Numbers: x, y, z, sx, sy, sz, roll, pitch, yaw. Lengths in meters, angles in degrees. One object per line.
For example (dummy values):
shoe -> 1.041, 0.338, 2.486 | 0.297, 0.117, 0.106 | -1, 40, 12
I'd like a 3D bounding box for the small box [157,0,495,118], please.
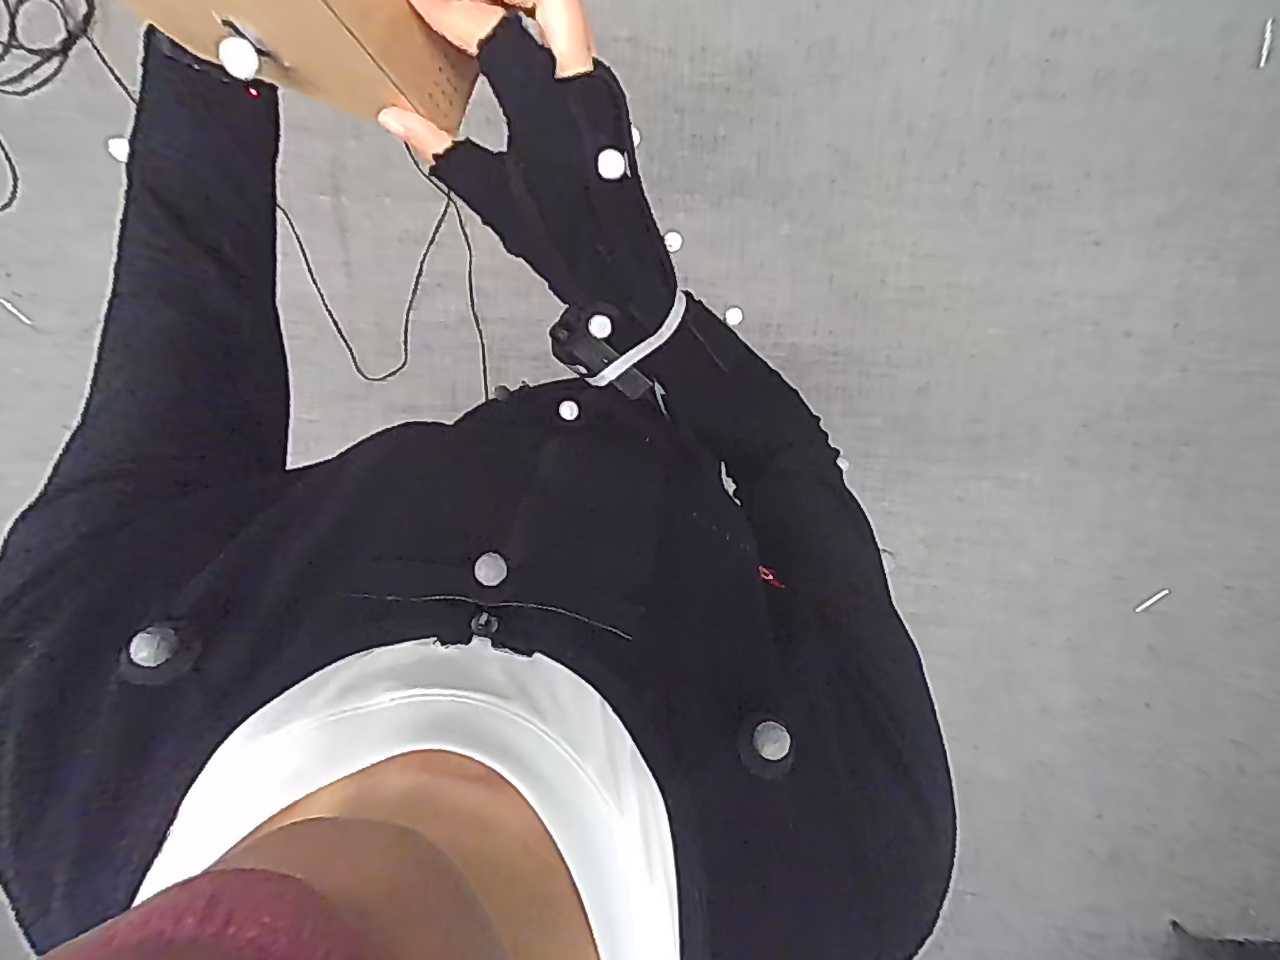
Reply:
small box -> -0.152, -0.286, 0.210 | 0.179, 0.176, 0.168 | 25, 94, 9
